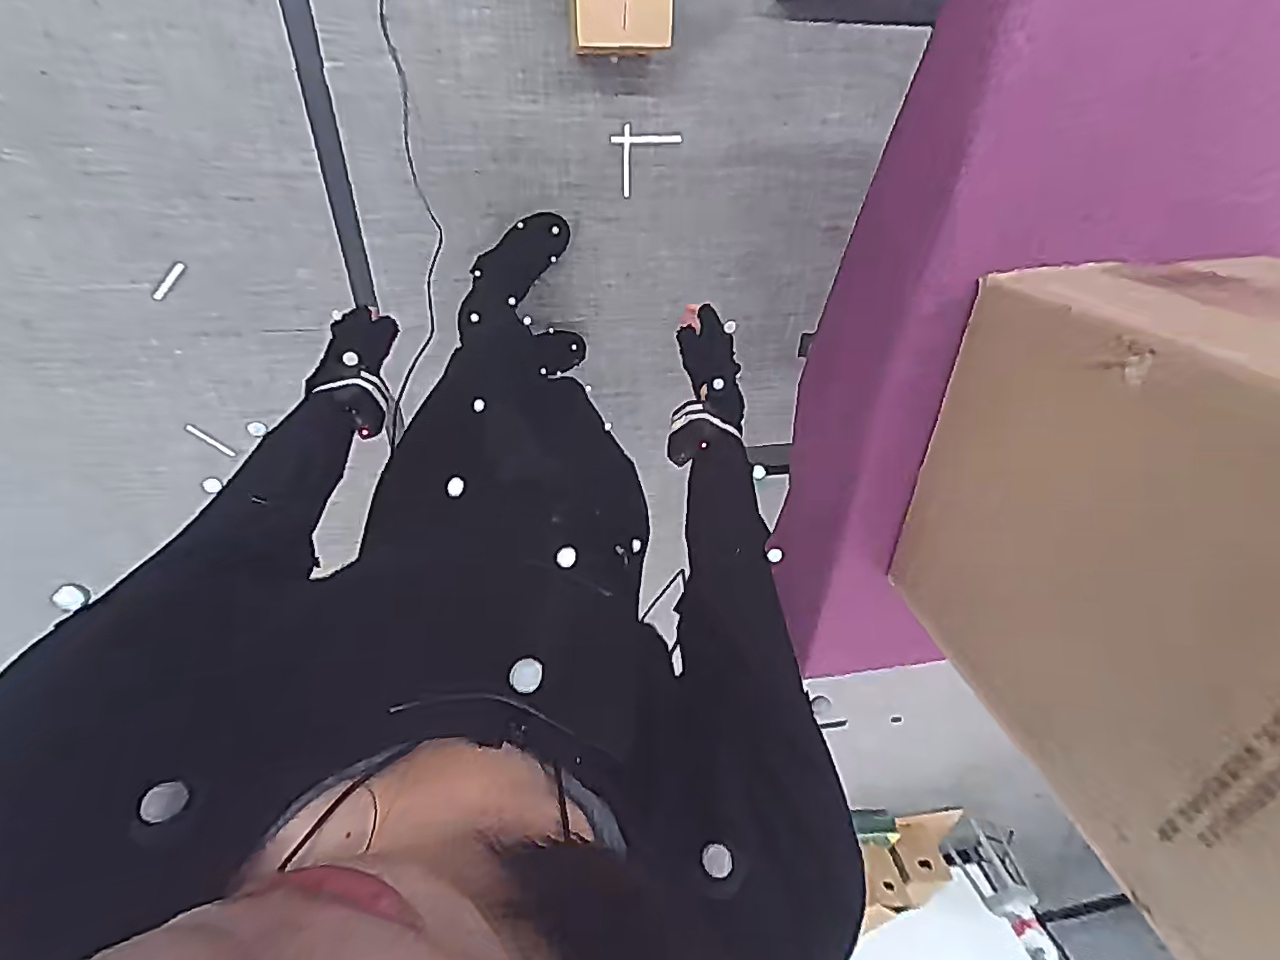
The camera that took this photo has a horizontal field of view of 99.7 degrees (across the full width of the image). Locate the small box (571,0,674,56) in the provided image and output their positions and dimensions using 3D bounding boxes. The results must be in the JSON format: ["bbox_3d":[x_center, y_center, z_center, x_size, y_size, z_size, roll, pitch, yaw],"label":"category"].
[{"bbox_3d":[-0.036,-0.865,0.949,0.168,0.176,0.179,-5,125,-8],"label":"small box"}]
